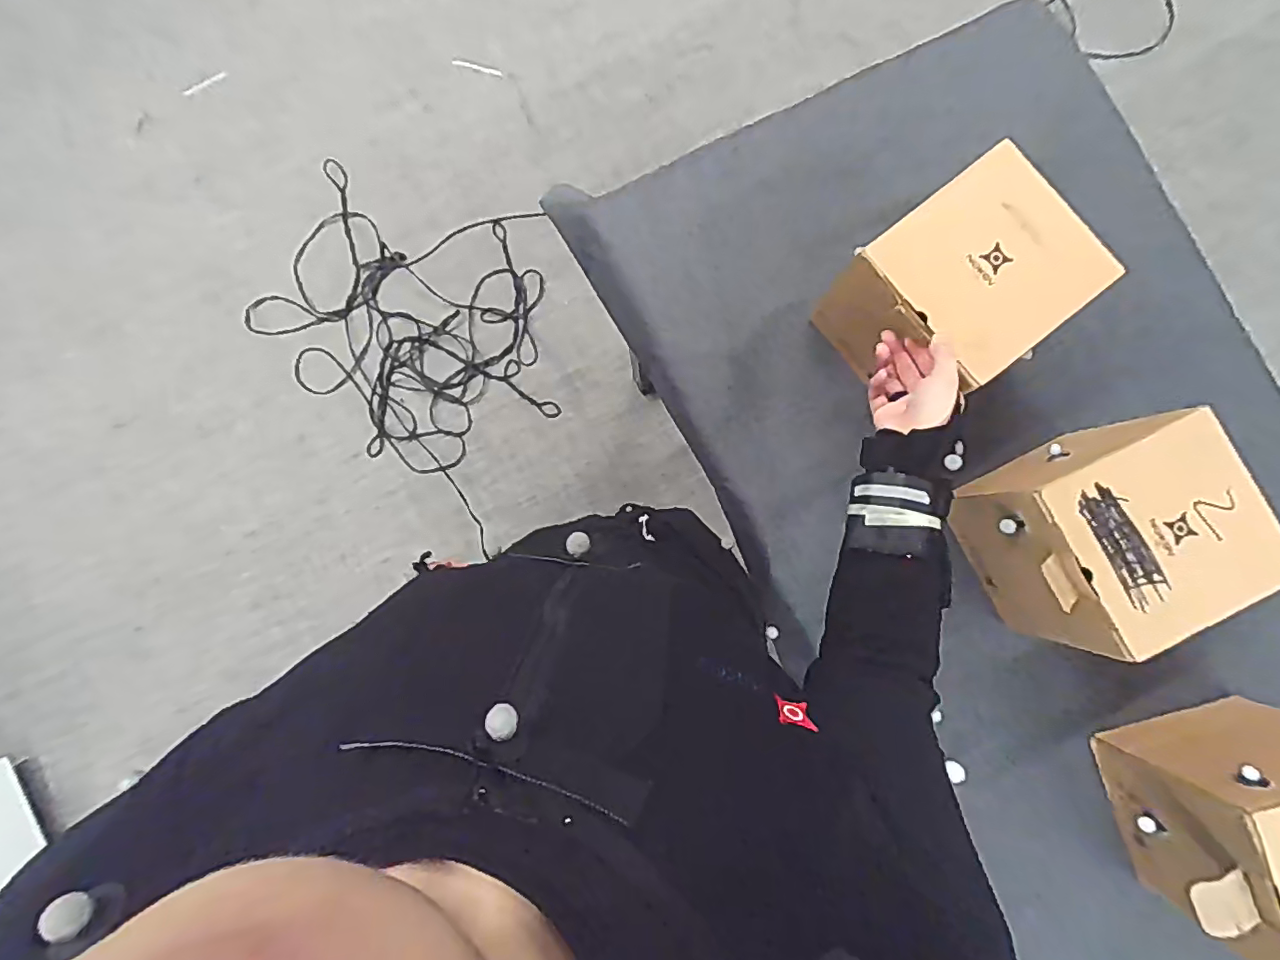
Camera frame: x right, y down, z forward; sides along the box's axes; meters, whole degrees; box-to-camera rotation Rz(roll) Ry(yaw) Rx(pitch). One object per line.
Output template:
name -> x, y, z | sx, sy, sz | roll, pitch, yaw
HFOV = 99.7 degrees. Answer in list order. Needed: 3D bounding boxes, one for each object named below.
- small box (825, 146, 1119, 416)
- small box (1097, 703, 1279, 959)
small box -> 0.321, -0.190, 0.572 | 0.179, 0.176, 0.168 | -38, 87, -3
small box -> 0.611, 0.339, 0.522 | 0.179, 0.176, 0.168 | -16, 85, 1
